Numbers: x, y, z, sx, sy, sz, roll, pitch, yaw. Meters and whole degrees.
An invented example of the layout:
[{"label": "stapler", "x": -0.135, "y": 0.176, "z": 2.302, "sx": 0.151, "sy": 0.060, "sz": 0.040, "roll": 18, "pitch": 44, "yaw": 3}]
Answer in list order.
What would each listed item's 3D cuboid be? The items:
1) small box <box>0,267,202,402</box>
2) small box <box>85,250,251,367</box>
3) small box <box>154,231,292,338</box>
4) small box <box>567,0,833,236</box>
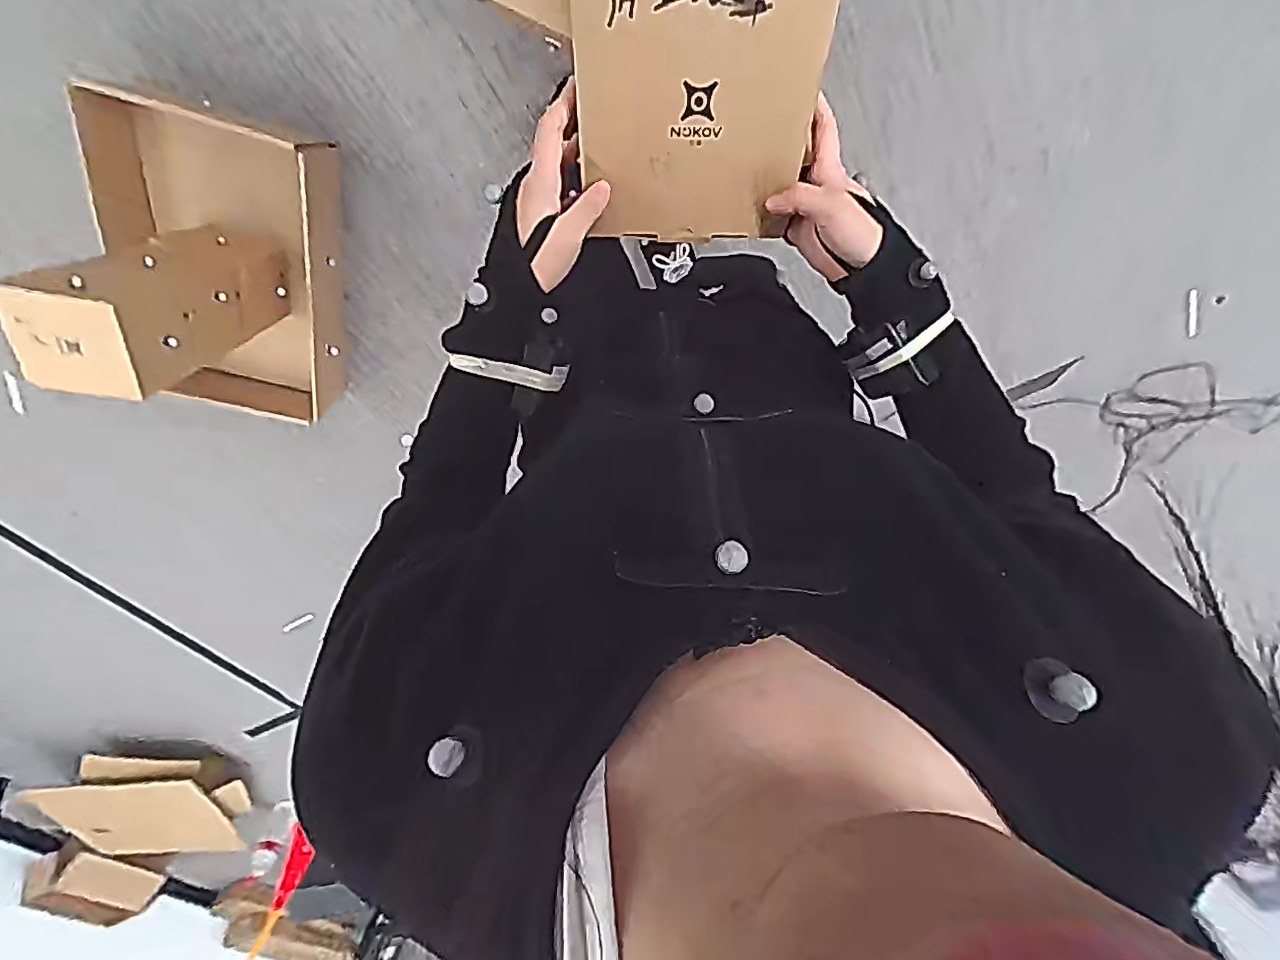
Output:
[{"label": "small box", "x": -0.898, "y": -0.254, "z": 0.925, "sx": 0.179, "sy": 0.176, "sz": 0.168, "roll": 8, "pitch": 122, "yaw": -8}, {"label": "small box", "x": -0.907, "y": -0.342, "z": 1.065, "sx": 0.179, "sy": 0.176, "sz": 0.168, "roll": 9, "pitch": 122, "yaw": -6}, {"label": "small box", "x": -0.907, "y": -0.437, "z": 1.196, "sx": 0.179, "sy": 0.176, "sz": 0.168, "roll": 12, "pitch": 123, "yaw": -11}, {"label": "small box", "x": 0.034, "y": -0.319, "z": 0.426, "sx": 0.168, "sy": 0.176, "sz": 0.179, "roll": 0, "pitch": 142, "yaw": -2}]
